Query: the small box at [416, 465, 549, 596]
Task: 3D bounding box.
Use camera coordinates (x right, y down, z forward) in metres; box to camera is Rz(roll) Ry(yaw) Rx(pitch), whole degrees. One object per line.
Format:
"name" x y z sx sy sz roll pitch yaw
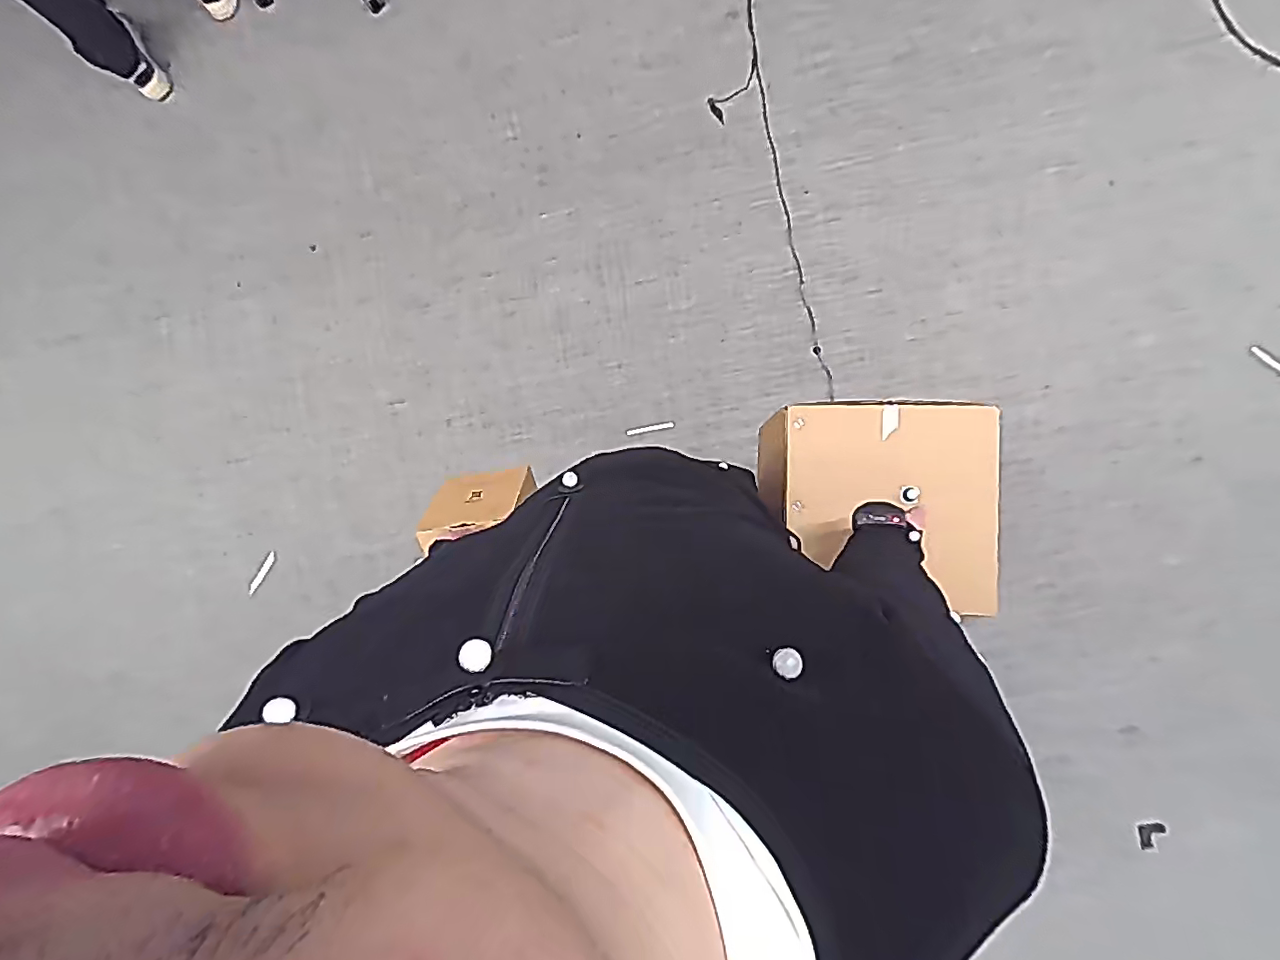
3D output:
"small box" -0.274 0.097 0.991 0.168 0.179 0.176 -8 123 6
